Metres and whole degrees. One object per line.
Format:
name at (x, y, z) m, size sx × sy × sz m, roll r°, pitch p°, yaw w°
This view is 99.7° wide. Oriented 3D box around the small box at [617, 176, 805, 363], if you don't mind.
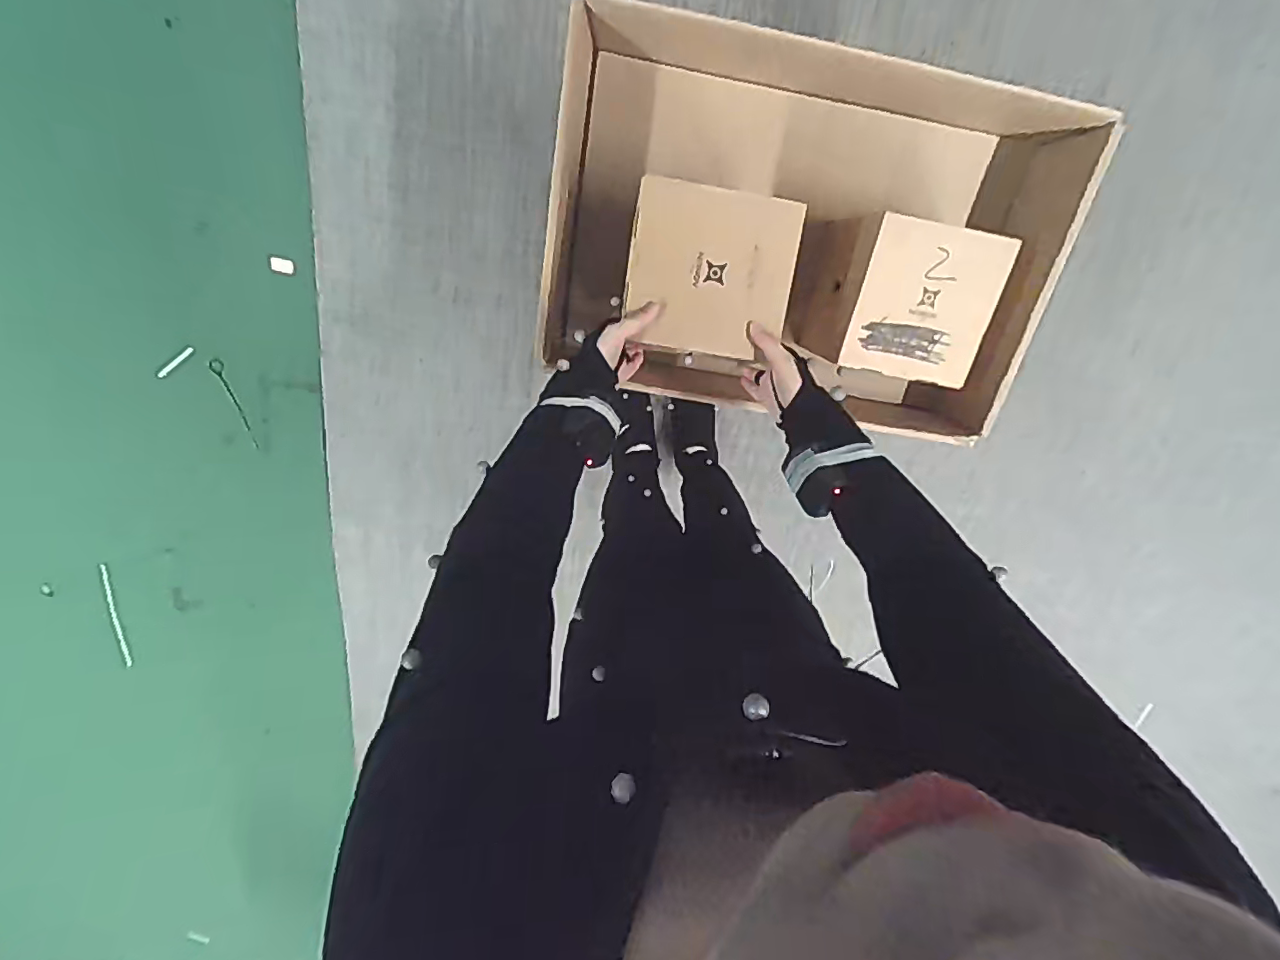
small box at (0.071, -0.233, 0.644) m, size 0.179 × 0.176 × 0.168 m, roll 8°, pitch 102°, yaw -4°
